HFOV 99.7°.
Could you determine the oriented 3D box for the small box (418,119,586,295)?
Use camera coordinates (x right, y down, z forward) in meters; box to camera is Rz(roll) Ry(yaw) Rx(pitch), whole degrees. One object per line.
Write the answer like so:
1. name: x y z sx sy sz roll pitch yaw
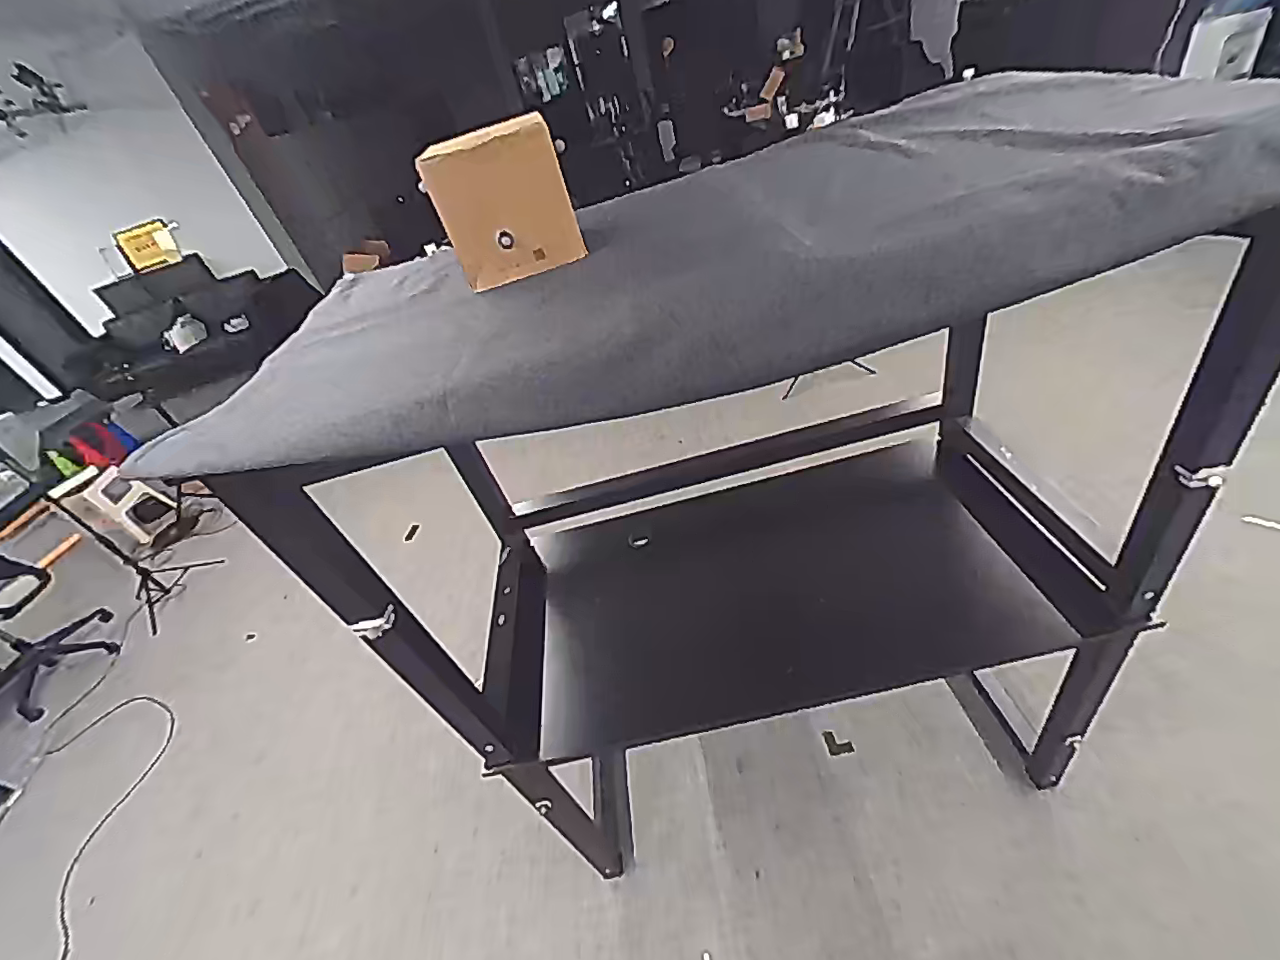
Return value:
1. small box: -0.185 -0.382 0.759 0.168 0.176 0.179 -19 38 0
